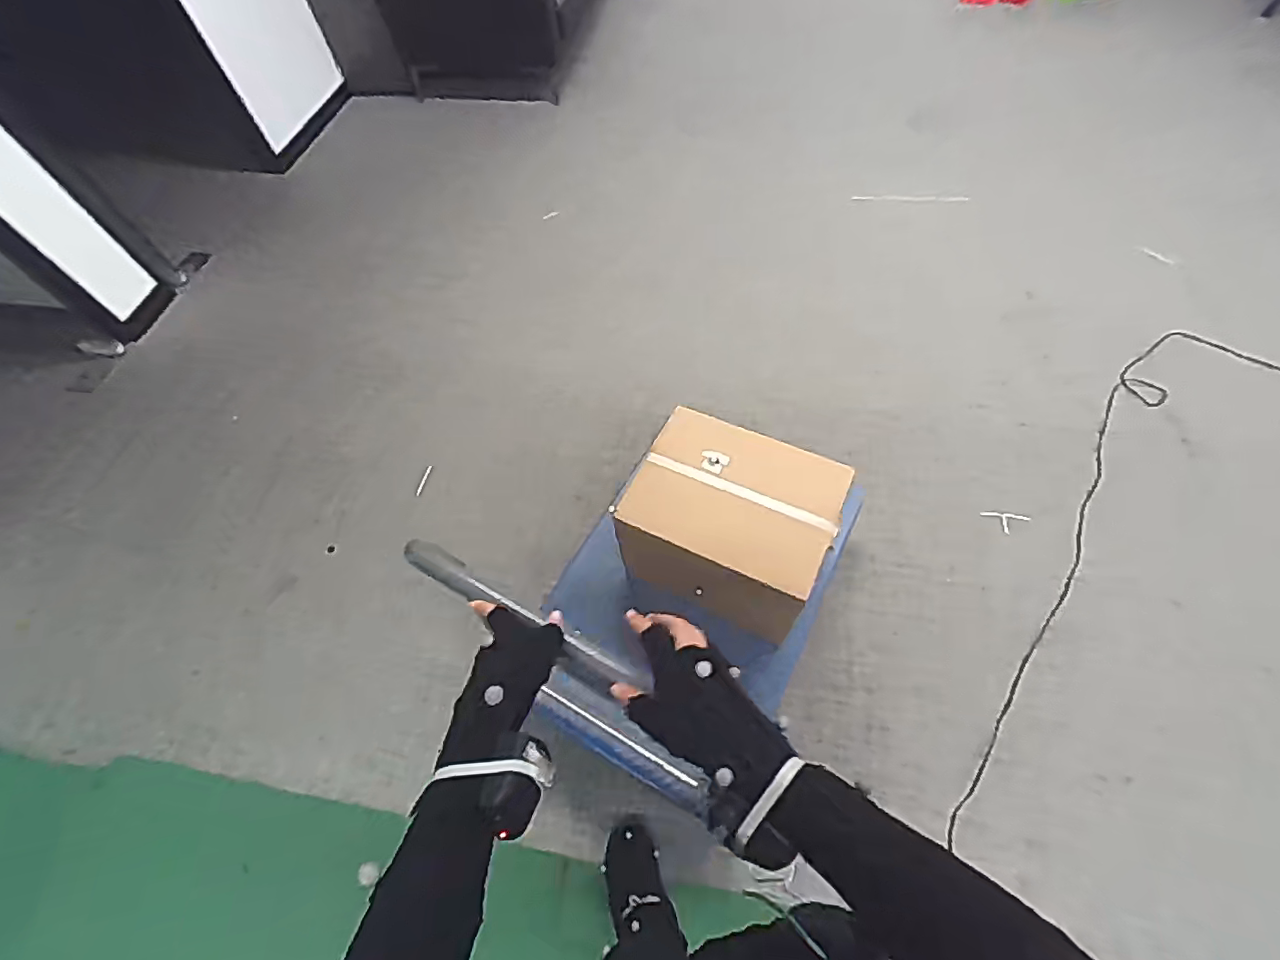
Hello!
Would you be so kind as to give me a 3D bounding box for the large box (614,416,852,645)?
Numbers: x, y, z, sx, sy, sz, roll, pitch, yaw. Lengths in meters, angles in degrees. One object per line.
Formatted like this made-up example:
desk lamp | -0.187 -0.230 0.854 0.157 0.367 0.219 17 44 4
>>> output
large box | 0.206 0.117 1.219 0.408 0.320 0.320 22 62 19
